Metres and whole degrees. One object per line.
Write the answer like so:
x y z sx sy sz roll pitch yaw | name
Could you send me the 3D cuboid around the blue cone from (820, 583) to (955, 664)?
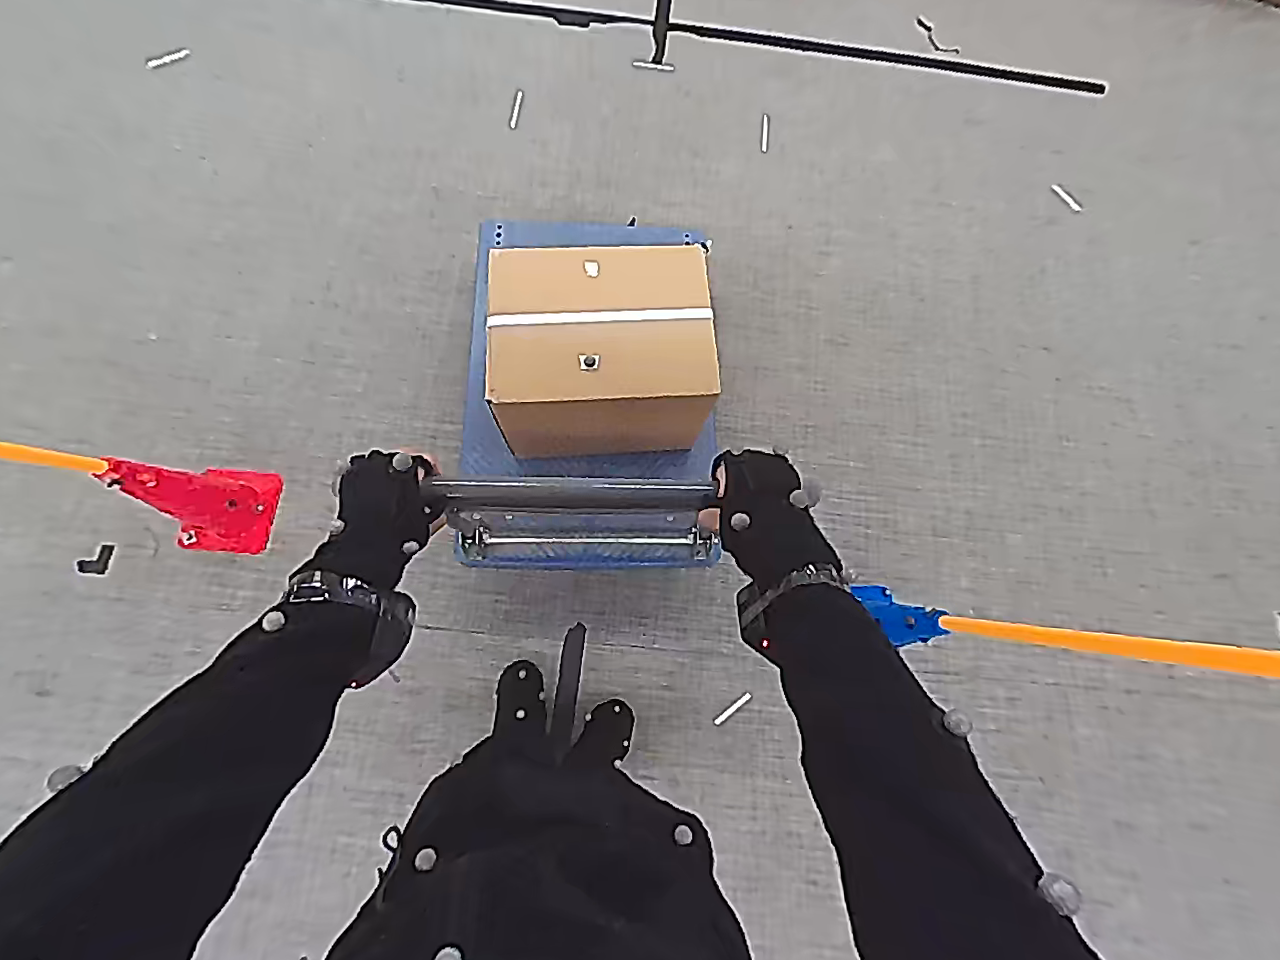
0.552 0.302 1.170 0.193 0.380 0.192 3 73 -4 | blue cone
